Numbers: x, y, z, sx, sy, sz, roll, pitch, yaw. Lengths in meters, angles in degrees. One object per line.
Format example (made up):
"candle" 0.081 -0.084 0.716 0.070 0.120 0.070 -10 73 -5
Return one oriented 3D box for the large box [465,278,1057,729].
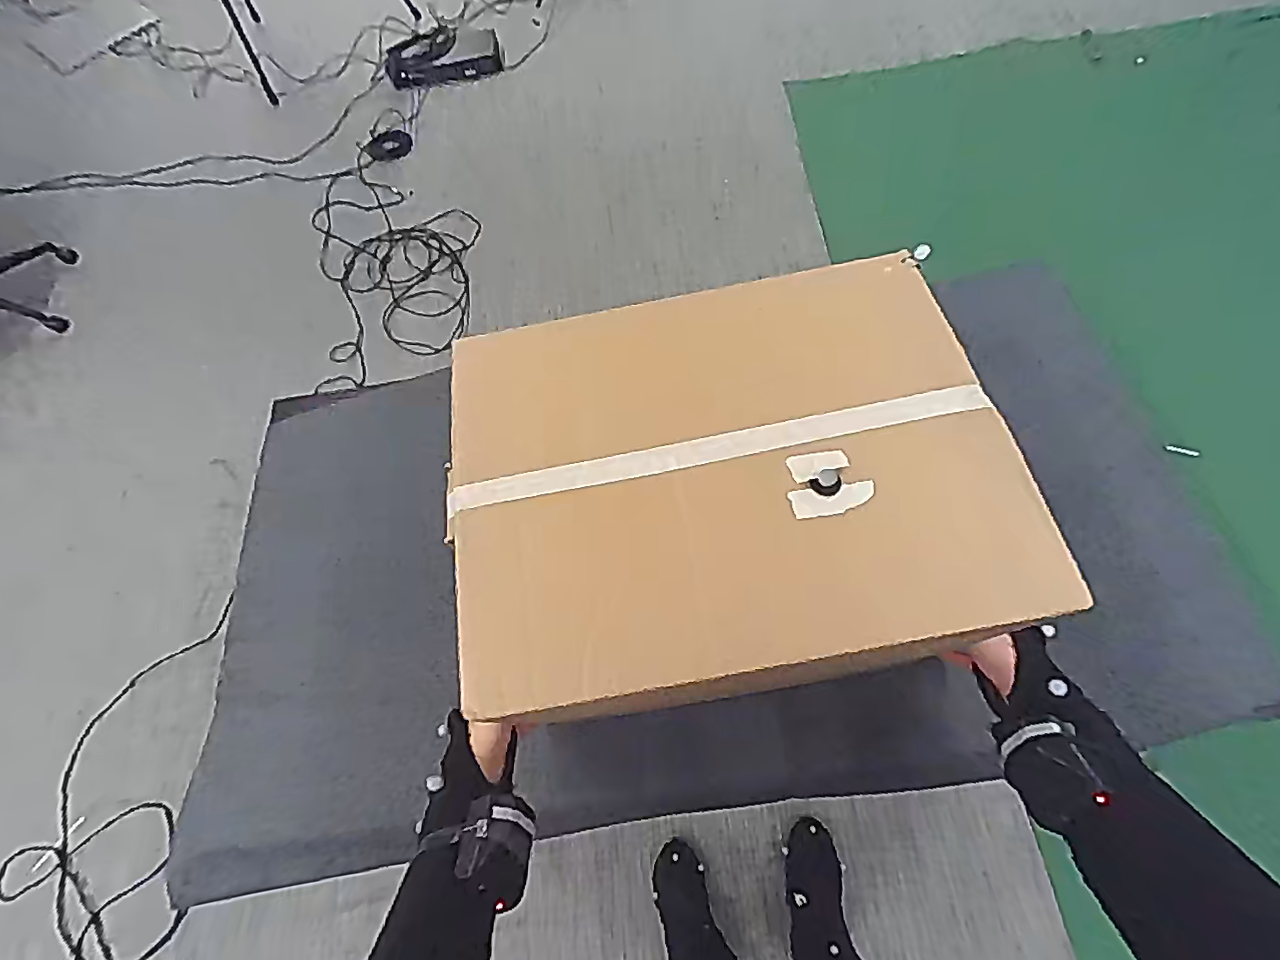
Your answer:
"large box" 0.073 0.053 0.557 0.408 0.320 0.320 -11 65 1
